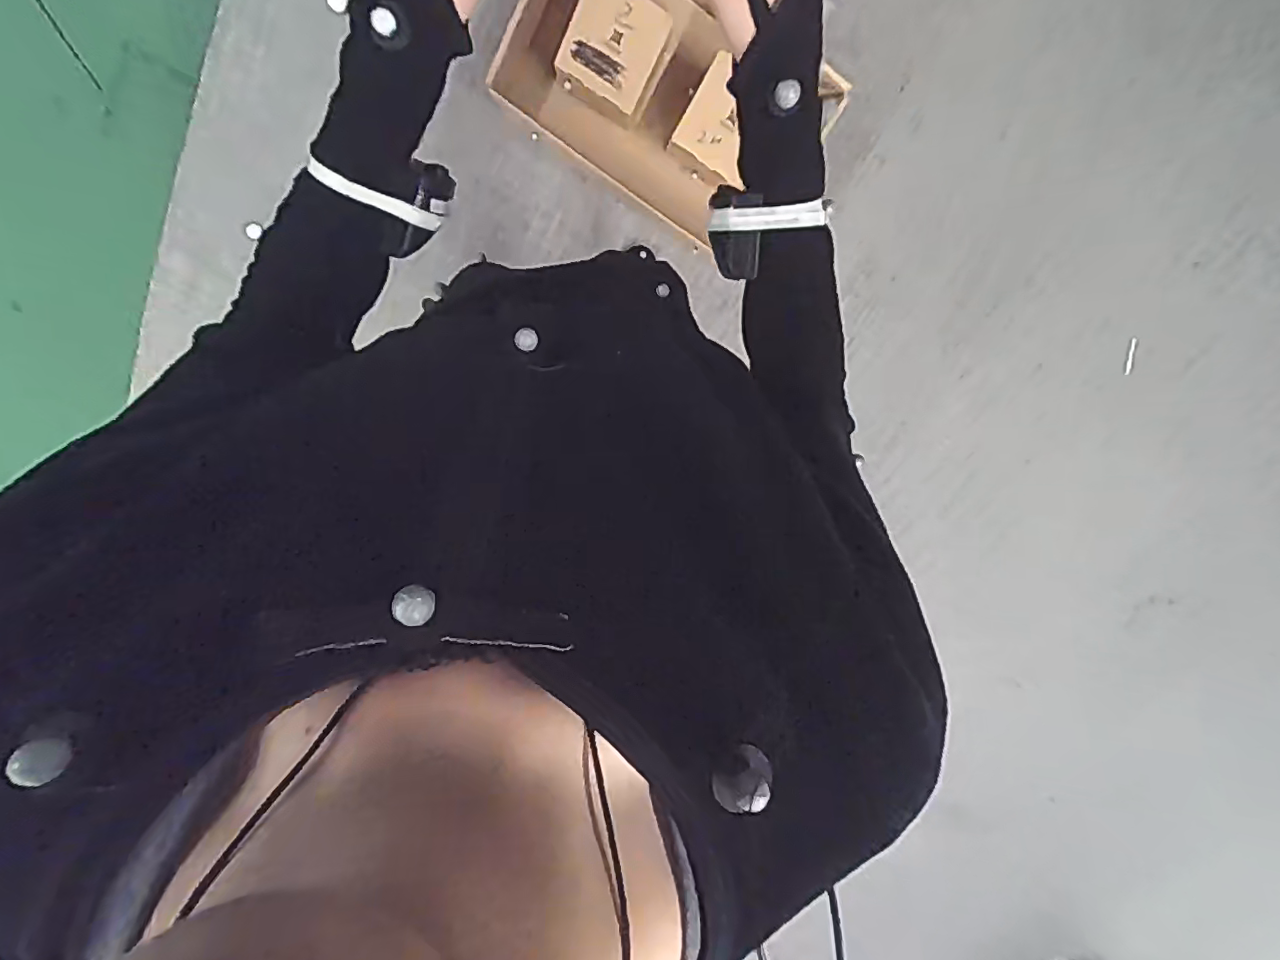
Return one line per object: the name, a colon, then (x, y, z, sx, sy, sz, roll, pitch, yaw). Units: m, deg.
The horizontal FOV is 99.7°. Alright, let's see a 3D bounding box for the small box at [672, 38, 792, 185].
small box: (0.178, -0.744, 1.115, 0.168, 0.176, 0.179, 31, 110, -13)
